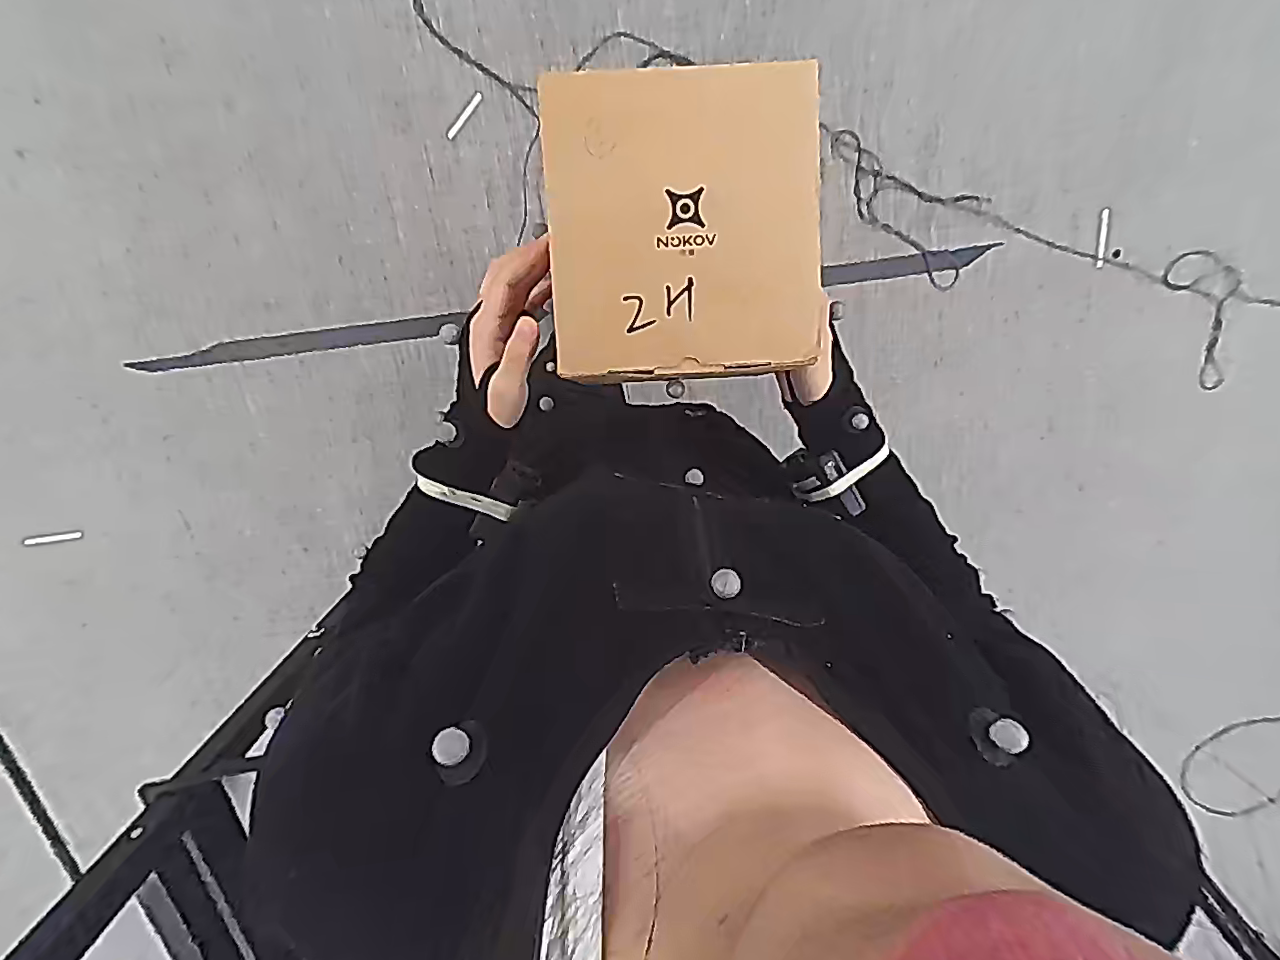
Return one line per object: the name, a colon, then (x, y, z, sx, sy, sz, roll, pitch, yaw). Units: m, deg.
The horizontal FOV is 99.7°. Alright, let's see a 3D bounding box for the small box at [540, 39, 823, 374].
small box: (0.025, -0.174, 0.398, 0.168, 0.176, 0.179, -3, 99, 0)
